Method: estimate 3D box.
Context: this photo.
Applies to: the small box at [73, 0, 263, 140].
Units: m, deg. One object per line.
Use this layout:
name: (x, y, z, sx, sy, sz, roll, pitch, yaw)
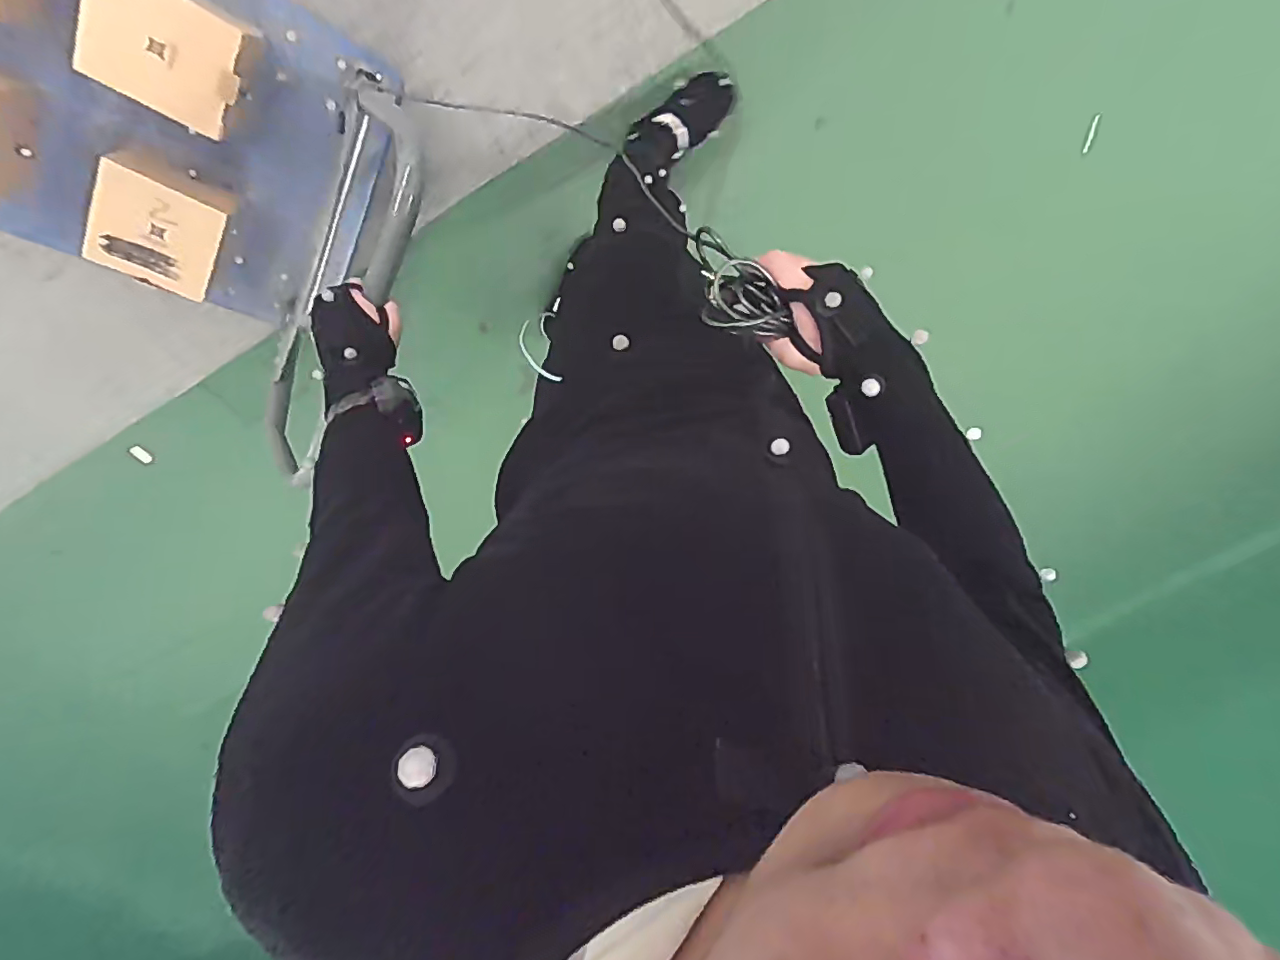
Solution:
small box: (-0.729, -0.673, 0.852, 0.179, 0.176, 0.168, 18, 116, -34)
